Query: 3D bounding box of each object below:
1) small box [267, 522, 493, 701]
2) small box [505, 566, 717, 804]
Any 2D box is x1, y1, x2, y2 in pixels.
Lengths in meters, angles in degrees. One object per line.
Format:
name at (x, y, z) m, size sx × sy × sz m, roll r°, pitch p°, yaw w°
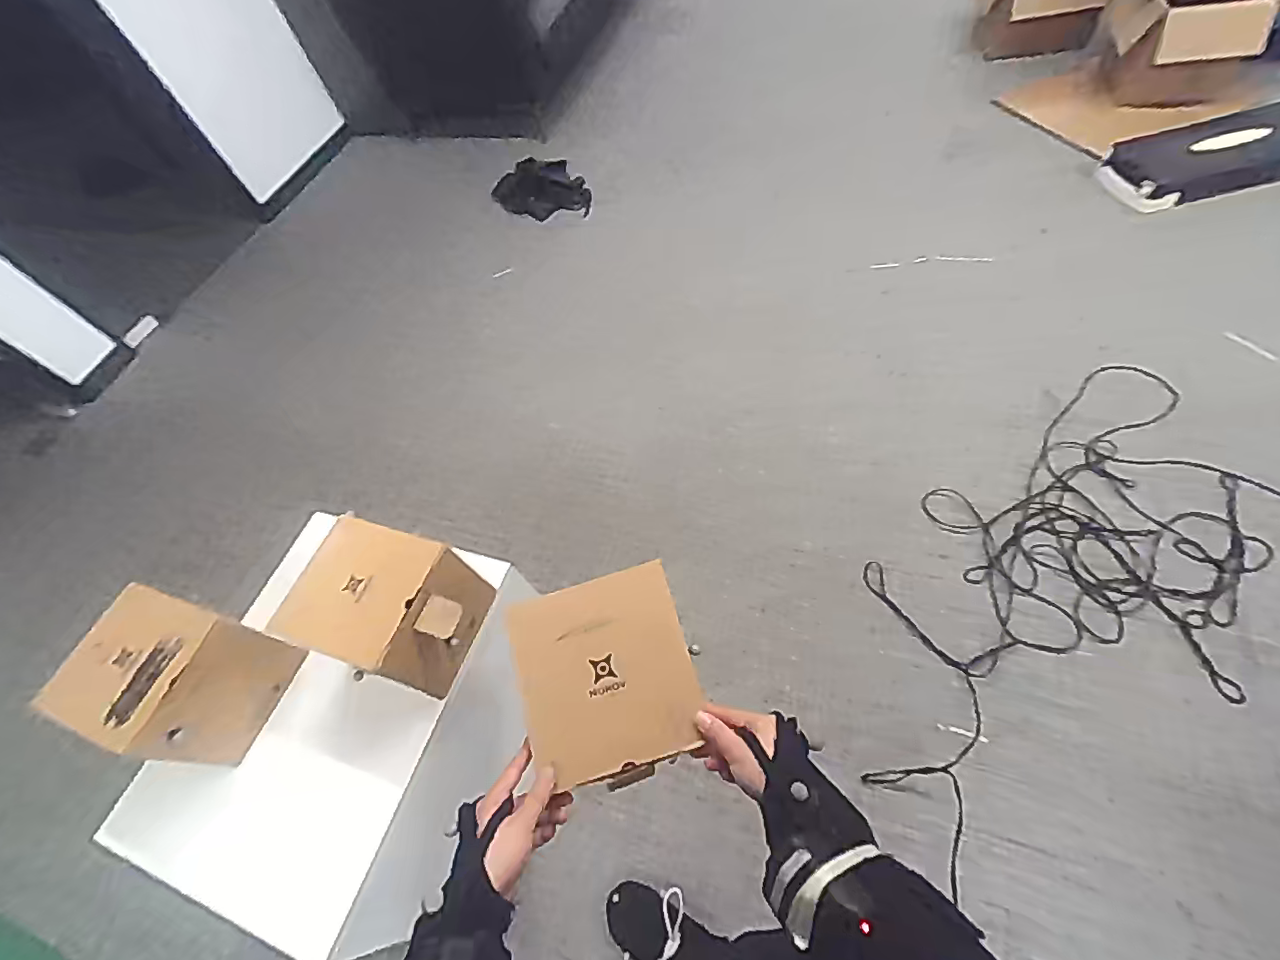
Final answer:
small box at (-0.333, 0.181, 0.729) m, size 0.179 × 0.176 × 0.168 m, roll 11°, pitch 60°, yaw 18°
small box at (-0.026, 0.209, 0.578) m, size 0.168 × 0.176 × 0.179 m, roll -17°, pitch 70°, yaw -3°
